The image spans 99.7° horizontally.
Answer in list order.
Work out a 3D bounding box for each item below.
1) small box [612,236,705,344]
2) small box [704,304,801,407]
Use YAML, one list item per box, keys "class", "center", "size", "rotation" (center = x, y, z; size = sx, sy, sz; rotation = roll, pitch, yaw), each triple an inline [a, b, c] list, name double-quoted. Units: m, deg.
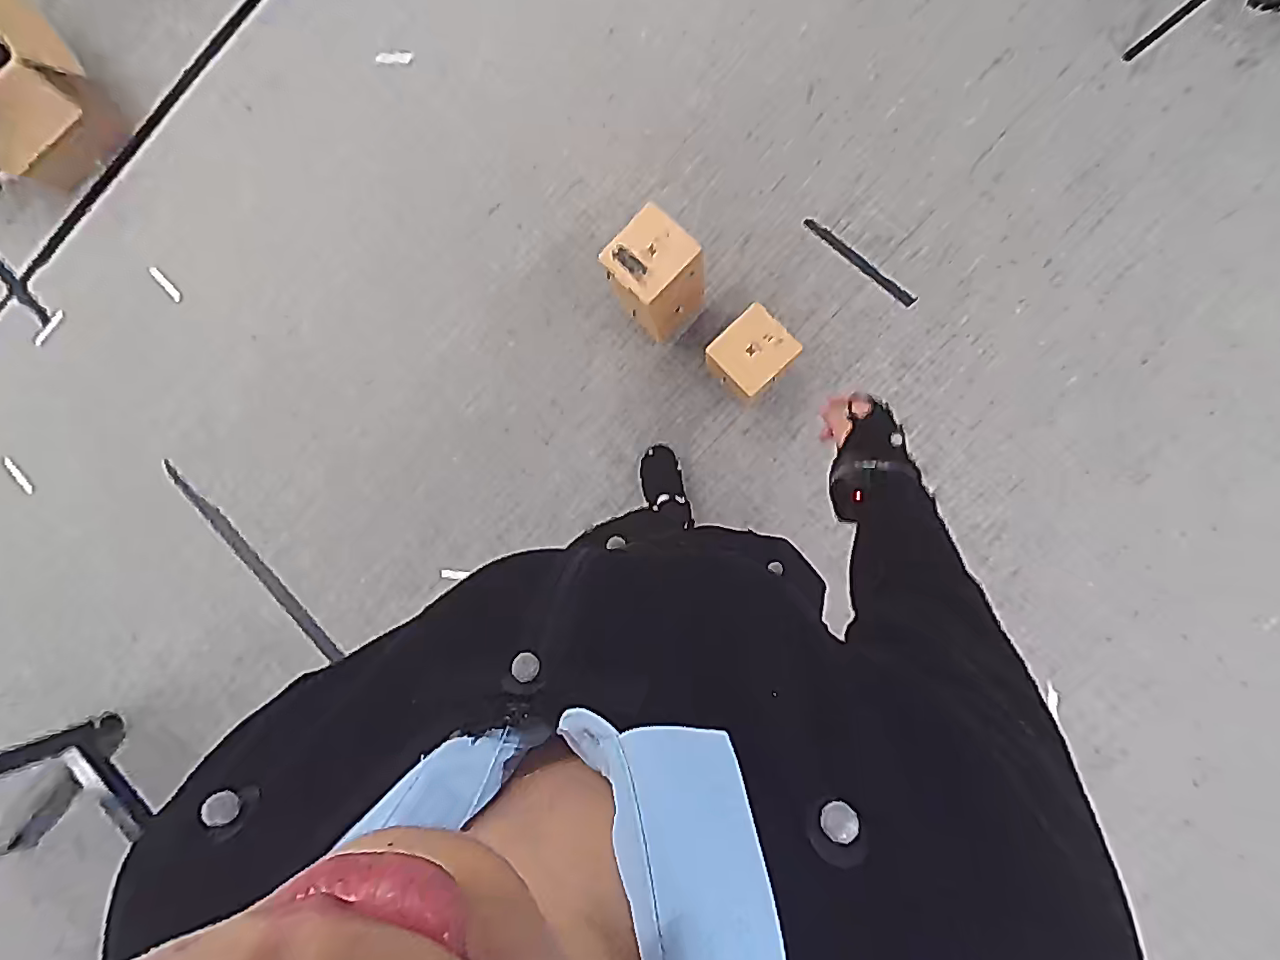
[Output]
- class: "small box"
  center: [0.053, -0.494, 1.433]
  size: [0.179, 0.176, 0.168]
  rotation: [-44, 83, 4]
- class: "small box"
  center: [0.284, -0.309, 1.389]
  size: [0.179, 0.176, 0.168]
  rotation: [-43, 84, 4]
